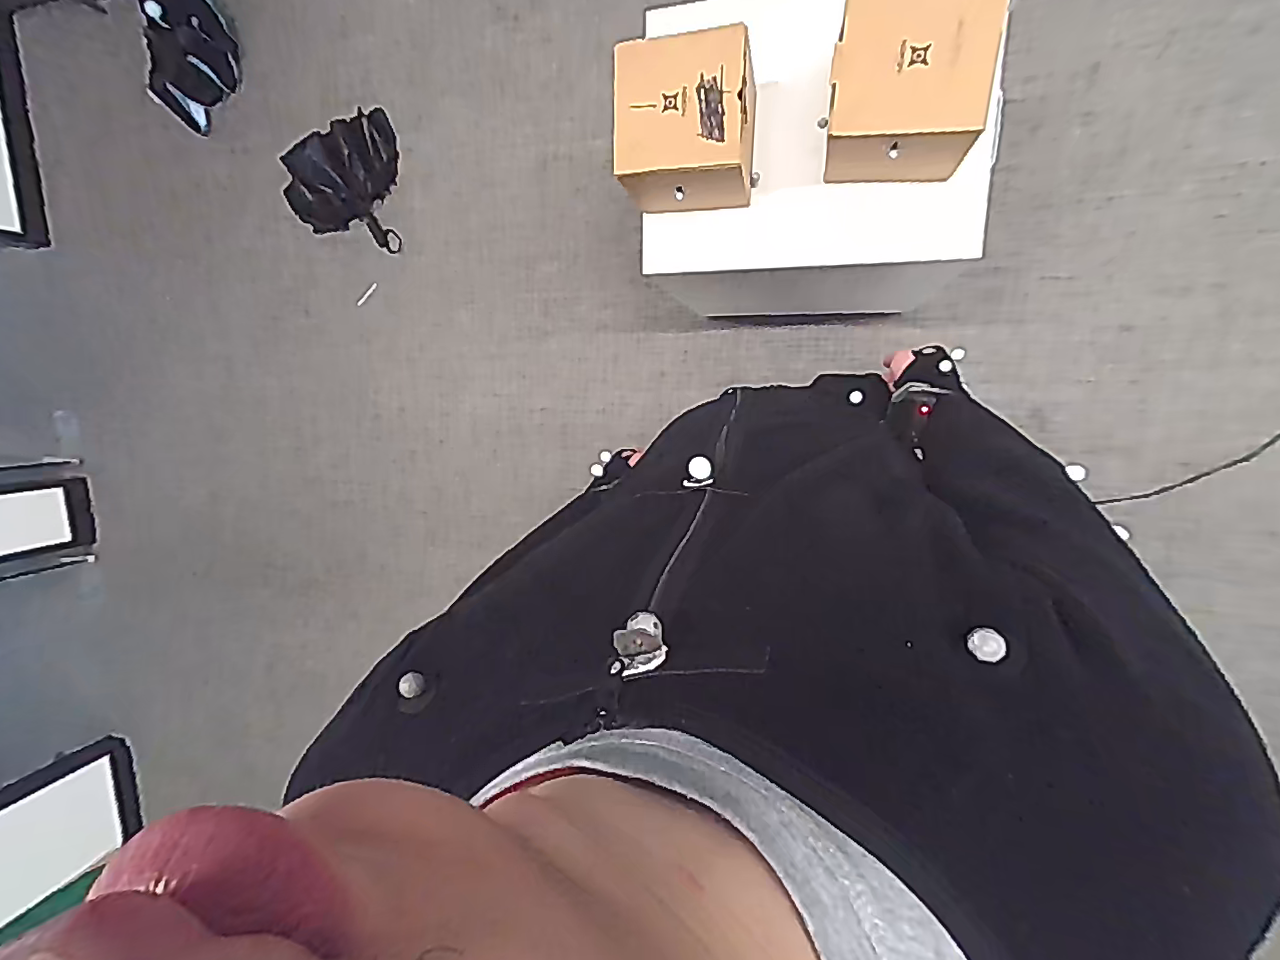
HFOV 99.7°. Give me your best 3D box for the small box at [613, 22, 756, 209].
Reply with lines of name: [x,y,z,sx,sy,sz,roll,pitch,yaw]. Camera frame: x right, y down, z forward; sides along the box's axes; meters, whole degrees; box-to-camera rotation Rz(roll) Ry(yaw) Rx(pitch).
small box: [0.071,-0.507,0.781,0.179,0.176,0.168,4,100,16]

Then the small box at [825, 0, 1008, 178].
small box: [0.342,-0.507,0.701,0.179,0.176,0.168,8,103,15]
